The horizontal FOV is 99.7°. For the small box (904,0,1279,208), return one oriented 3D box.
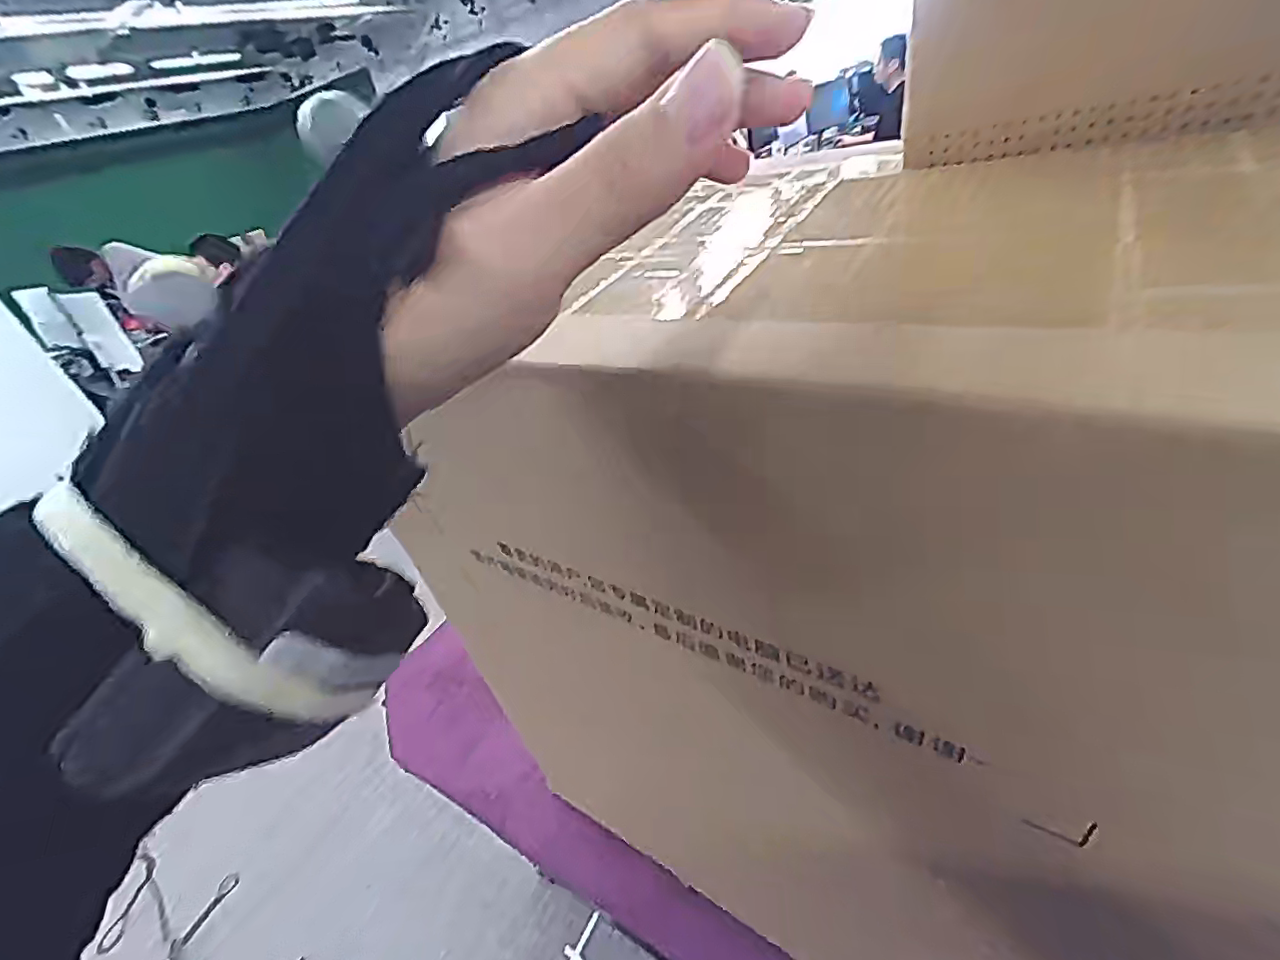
[{"bbox_3d":[0.236,-0.248,0.255,0.179,0.176,0.168,8,42,31],"label":"small box"}]
